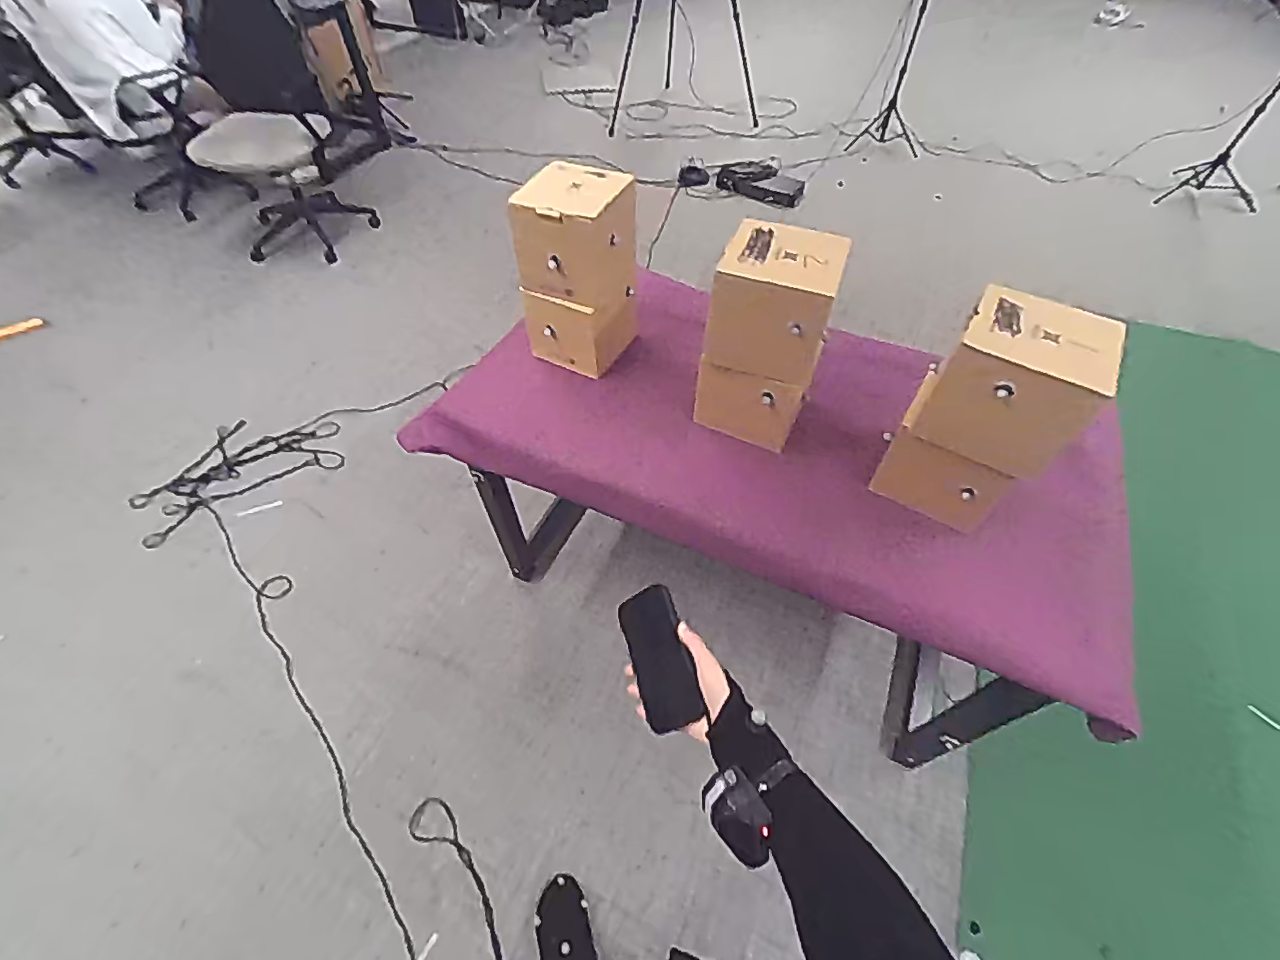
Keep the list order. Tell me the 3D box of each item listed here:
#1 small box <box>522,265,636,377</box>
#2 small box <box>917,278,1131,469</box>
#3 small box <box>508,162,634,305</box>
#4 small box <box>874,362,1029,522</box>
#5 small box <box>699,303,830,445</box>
[{"bbox_3d":[-0.115,-0.342,1.118,0.168,0.176,0.179,22,56,17],"label":"small box"},{"bbox_3d":[0.515,-0.143,0.745,0.179,0.176,0.168,27,57,20],"label":"small box"},{"bbox_3d":[-0.114,-0.449,0.993,0.168,0.176,0.179,18,55,14],"label":"small box"},{"bbox_3d":[0.517,-0.056,0.885,0.179,0.176,0.168,27,57,21],"label":"small box"},{"bbox_3d":[0.221,-0.189,0.991,0.179,0.176,0.168,22,55,17],"label":"small box"}]
